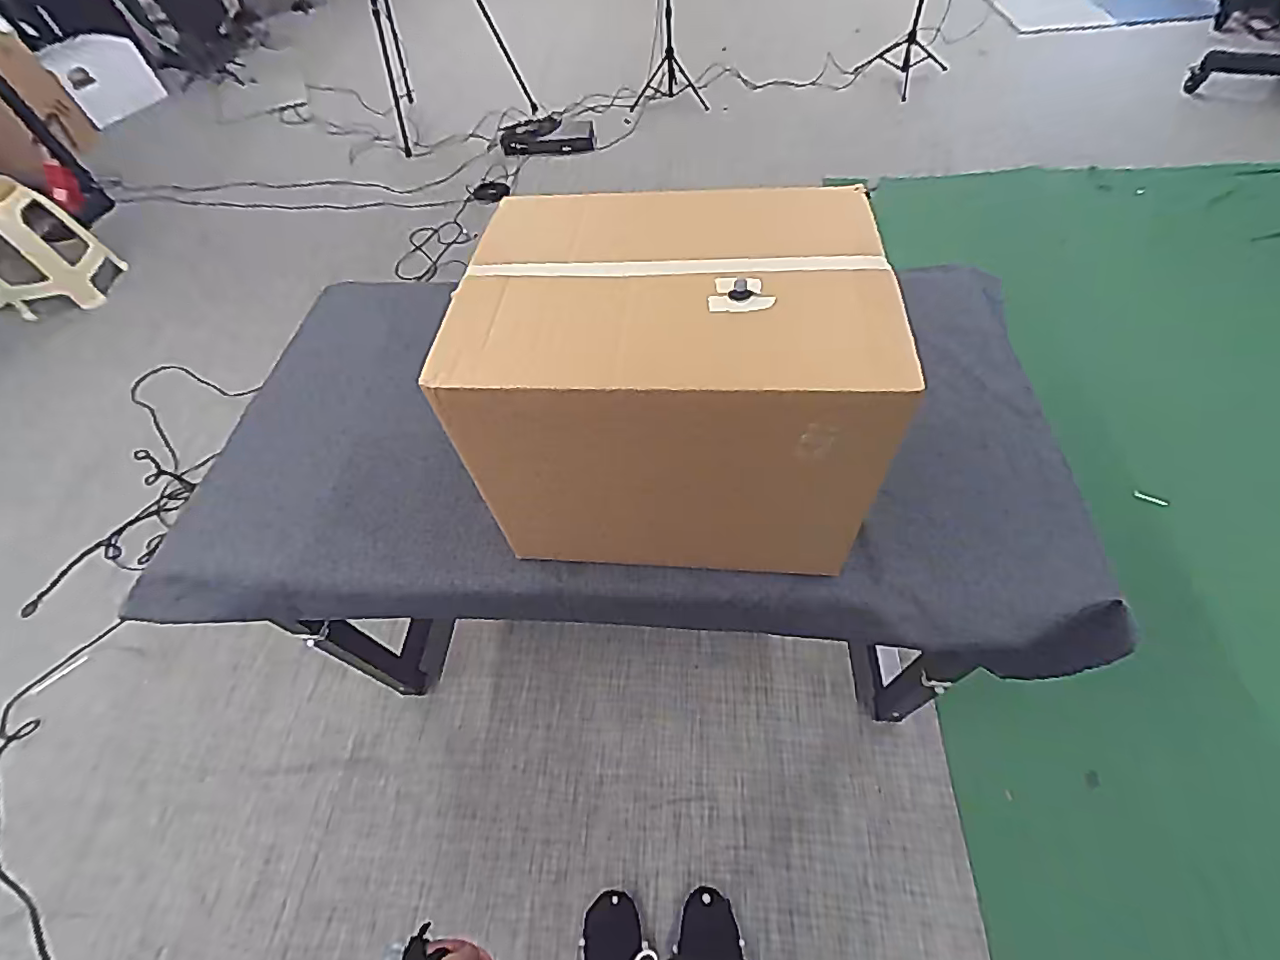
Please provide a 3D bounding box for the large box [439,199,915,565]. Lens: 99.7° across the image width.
[{"bbox_3d":[0.041,-0.107,0.650,0.408,0.320,0.320,2,54,6],"label":"large box"}]
